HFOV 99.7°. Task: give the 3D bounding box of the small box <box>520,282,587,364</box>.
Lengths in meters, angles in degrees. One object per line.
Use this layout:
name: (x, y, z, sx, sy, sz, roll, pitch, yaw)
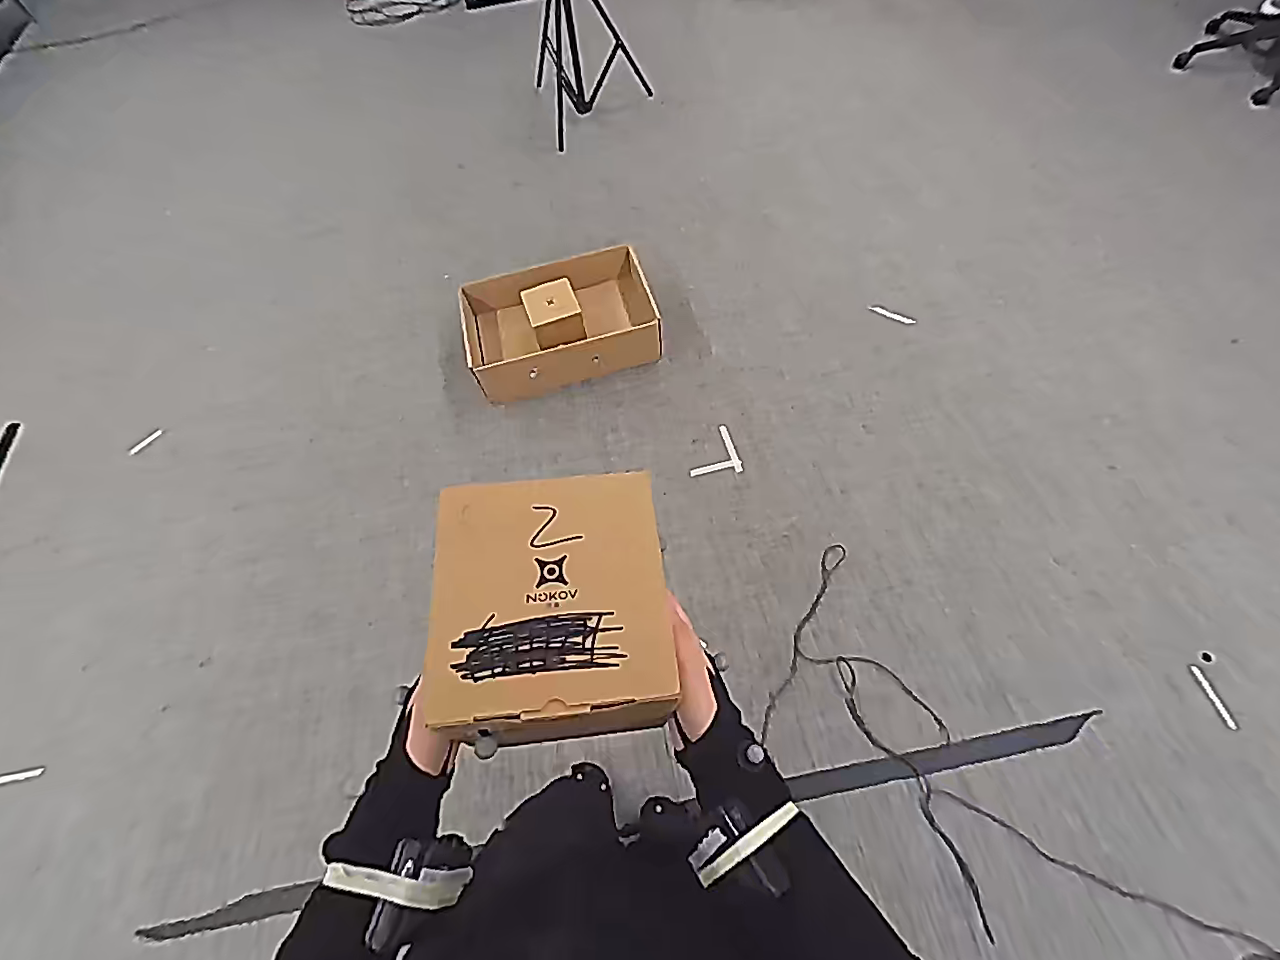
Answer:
small box: (-0.288, -0.524, 1.816, 0.168, 0.176, 0.179, -21, 62, -6)
